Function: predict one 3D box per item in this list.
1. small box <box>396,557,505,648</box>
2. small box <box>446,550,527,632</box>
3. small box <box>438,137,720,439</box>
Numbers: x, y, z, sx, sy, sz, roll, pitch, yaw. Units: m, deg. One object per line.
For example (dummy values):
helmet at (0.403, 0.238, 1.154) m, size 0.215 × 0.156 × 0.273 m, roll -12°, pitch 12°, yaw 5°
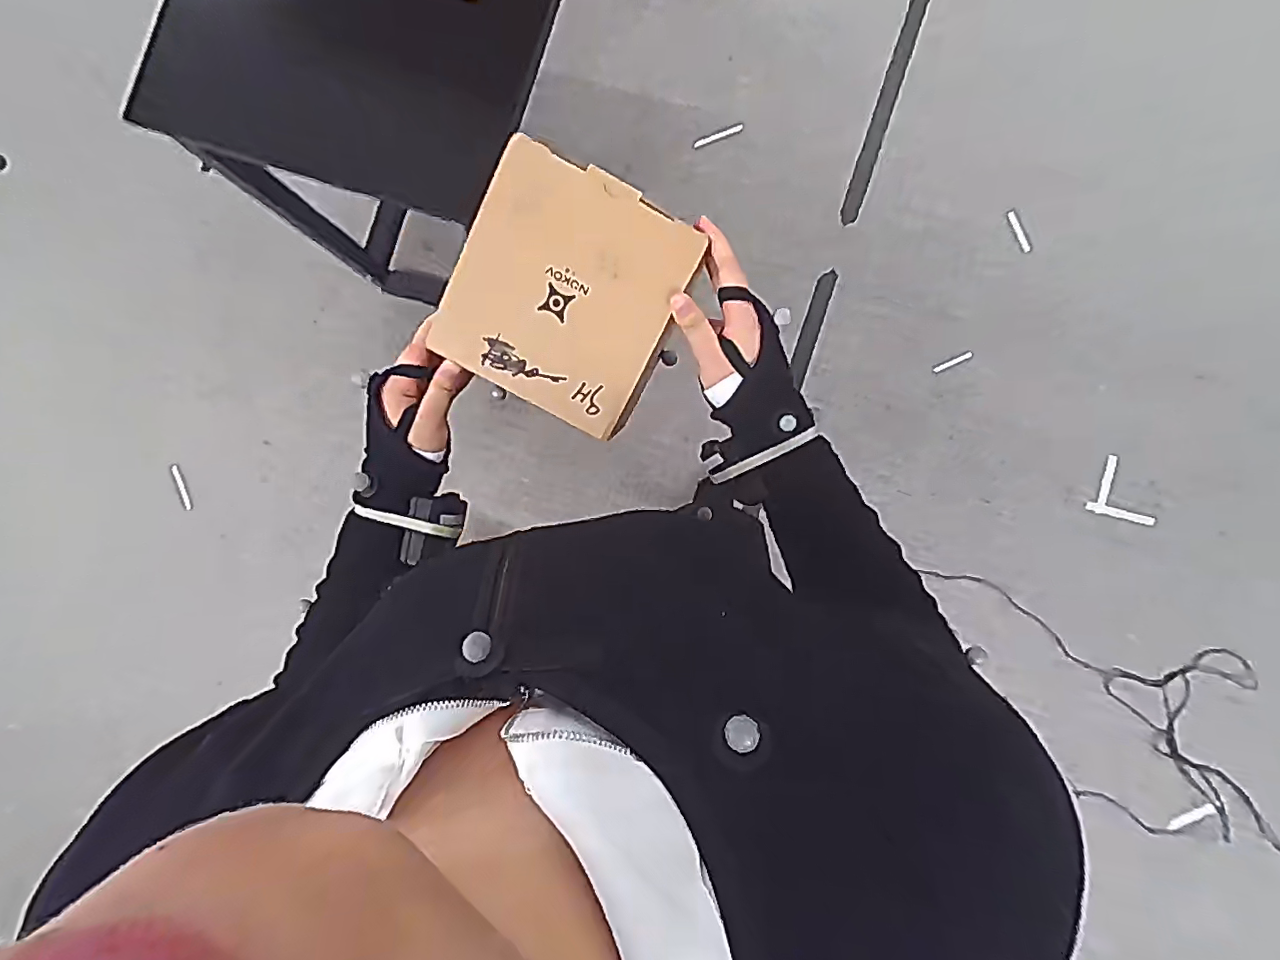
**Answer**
small box at (-0.439, 0.281, 1.281) m, size 0.179 × 0.176 × 0.168 m, roll 11°, pitch 87°, yaw 5°
small box at (-0.422, 0.288, 1.442) m, size 0.179 × 0.176 × 0.168 m, roll 14°, pitch 89°, yaw 4°
small box at (-0.047, -0.156, 0.496) m, size 0.168 × 0.176 × 0.179 m, roll 28°, pitch 99°, yaw -1°
